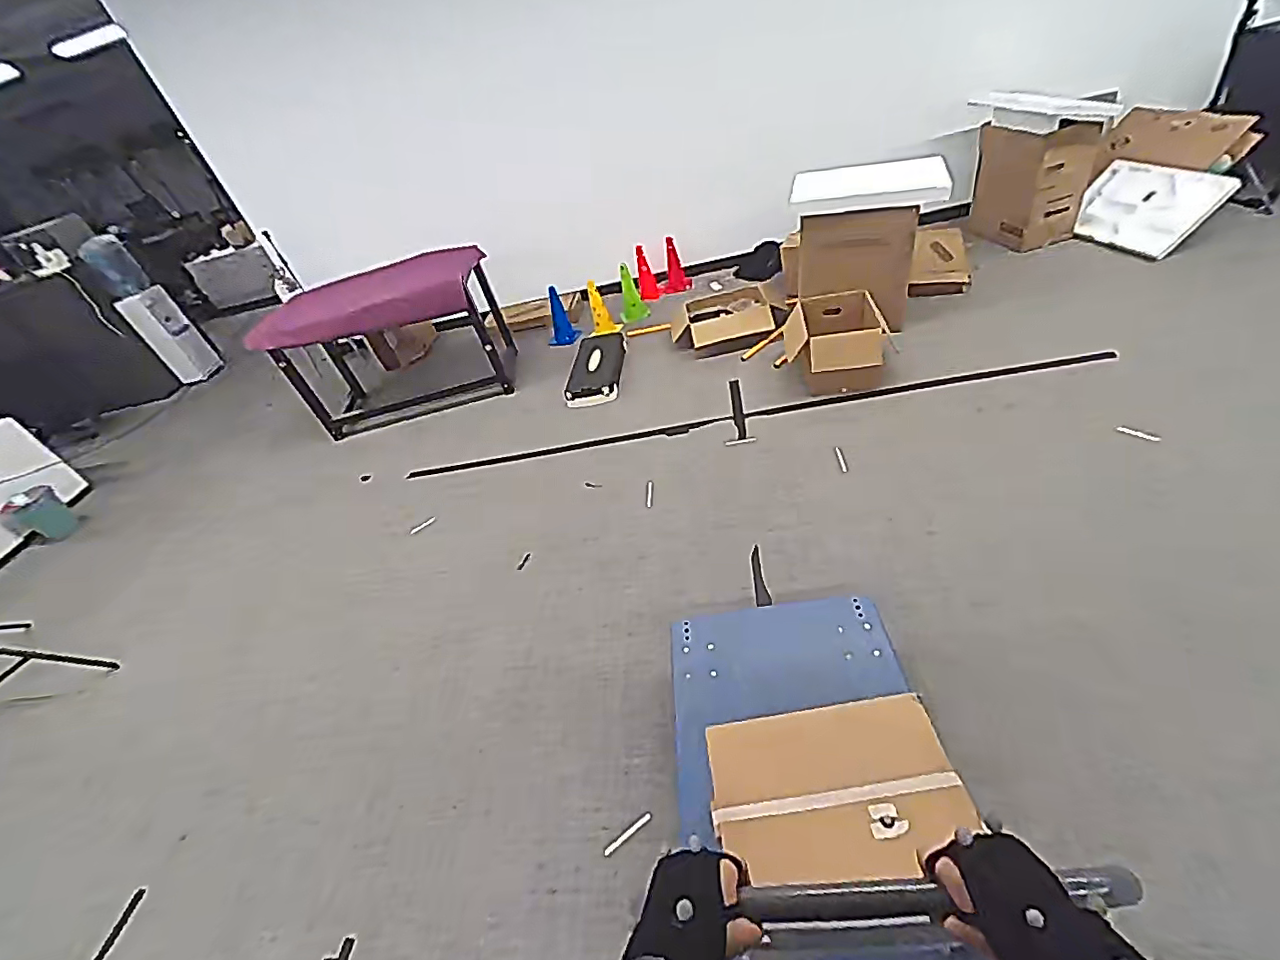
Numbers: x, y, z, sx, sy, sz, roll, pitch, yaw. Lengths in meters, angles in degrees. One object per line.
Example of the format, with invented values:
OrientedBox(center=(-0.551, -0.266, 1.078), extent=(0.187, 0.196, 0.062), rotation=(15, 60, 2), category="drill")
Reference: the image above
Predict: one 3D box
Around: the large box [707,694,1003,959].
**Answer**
OrientedBox(center=(0.363, 0.655, 1.016), extent=(0.408, 0.320, 0.320), rotation=(-12, 40, 5), category="large box")
